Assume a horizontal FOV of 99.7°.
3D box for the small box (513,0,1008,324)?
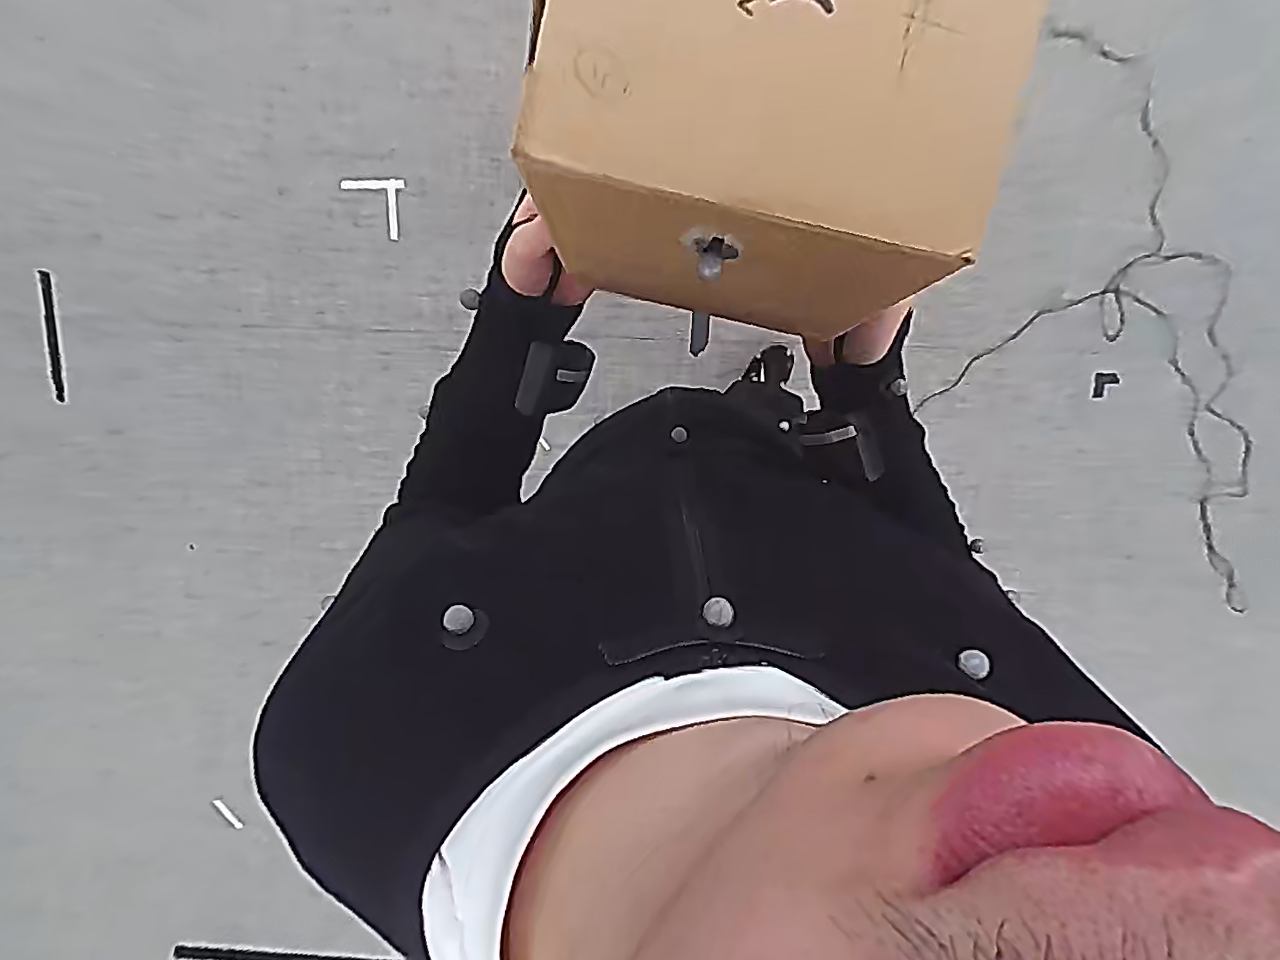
[{"bbox_3d":[0.052,-0.190,0.283,0.179,0.176,0.168,11,95,0],"label":"small box"}]
